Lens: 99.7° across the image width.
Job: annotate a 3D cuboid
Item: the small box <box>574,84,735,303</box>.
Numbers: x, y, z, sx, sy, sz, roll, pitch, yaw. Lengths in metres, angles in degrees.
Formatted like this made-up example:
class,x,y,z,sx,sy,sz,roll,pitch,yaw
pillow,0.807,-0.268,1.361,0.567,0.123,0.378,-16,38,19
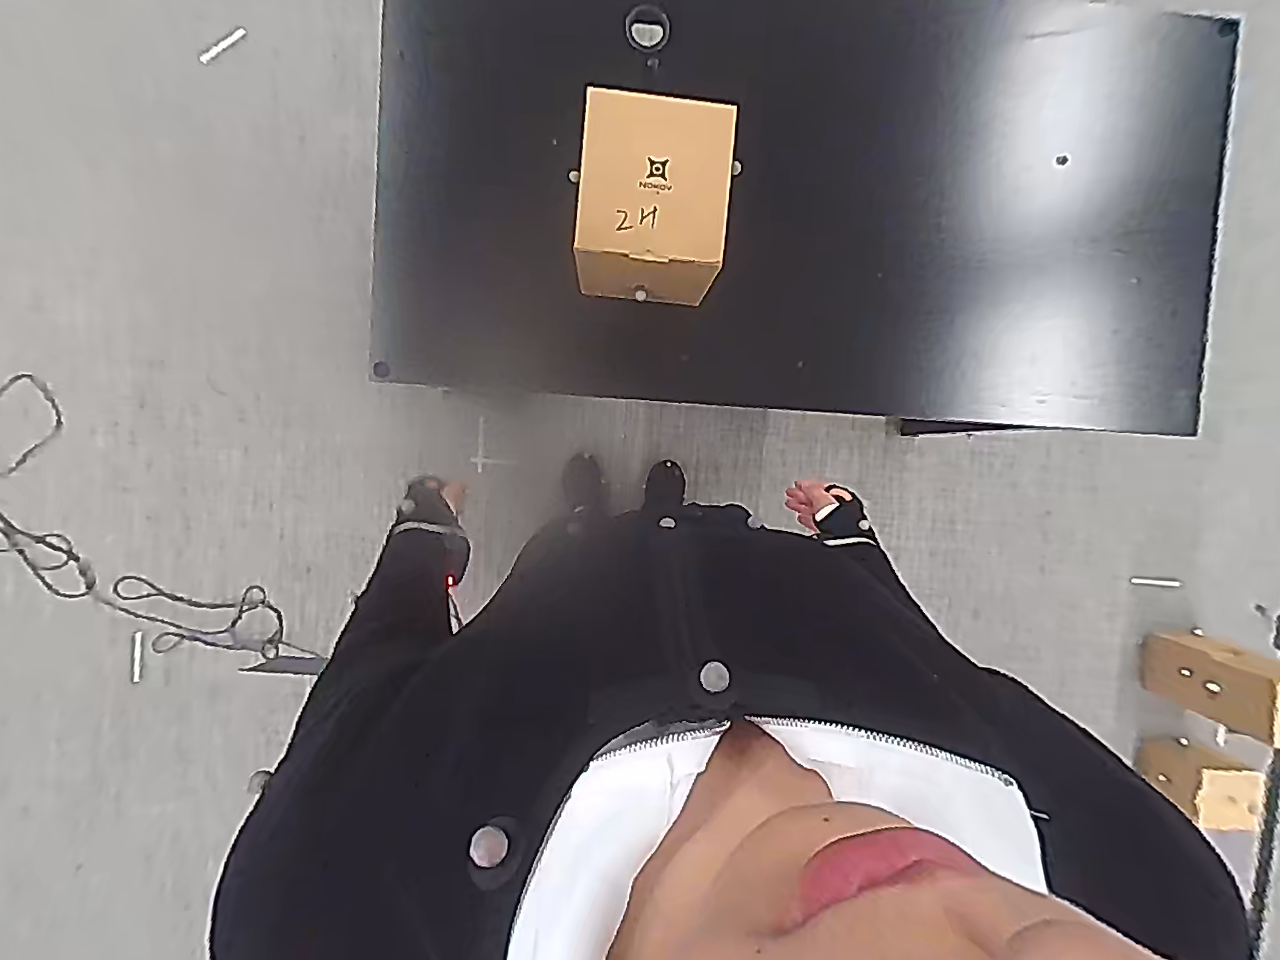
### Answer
class,x,y,z,sx,sy,sz,roll,pitch,yaw
small box,0.011,-0.338,0.671,0.168,0.176,0.179,5,93,-3

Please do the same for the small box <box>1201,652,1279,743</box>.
class,x,y,z,sx,sy,sz,roll,pitch,yaw
small box,1.589,0.540,1.362,0.179,0.176,0.168,0,92,-1

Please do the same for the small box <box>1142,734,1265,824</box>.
class,x,y,z,sx,sy,sz,roll,pitch,yaw
small box,1.599,0.847,1.545,0.179,0.176,0.168,4,93,-2

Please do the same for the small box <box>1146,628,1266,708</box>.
class,x,y,z,sx,sy,sz,roll,pitch,yaw
small box,1.585,0.527,1.524,0.168,0.176,0.179,2,94,-3
